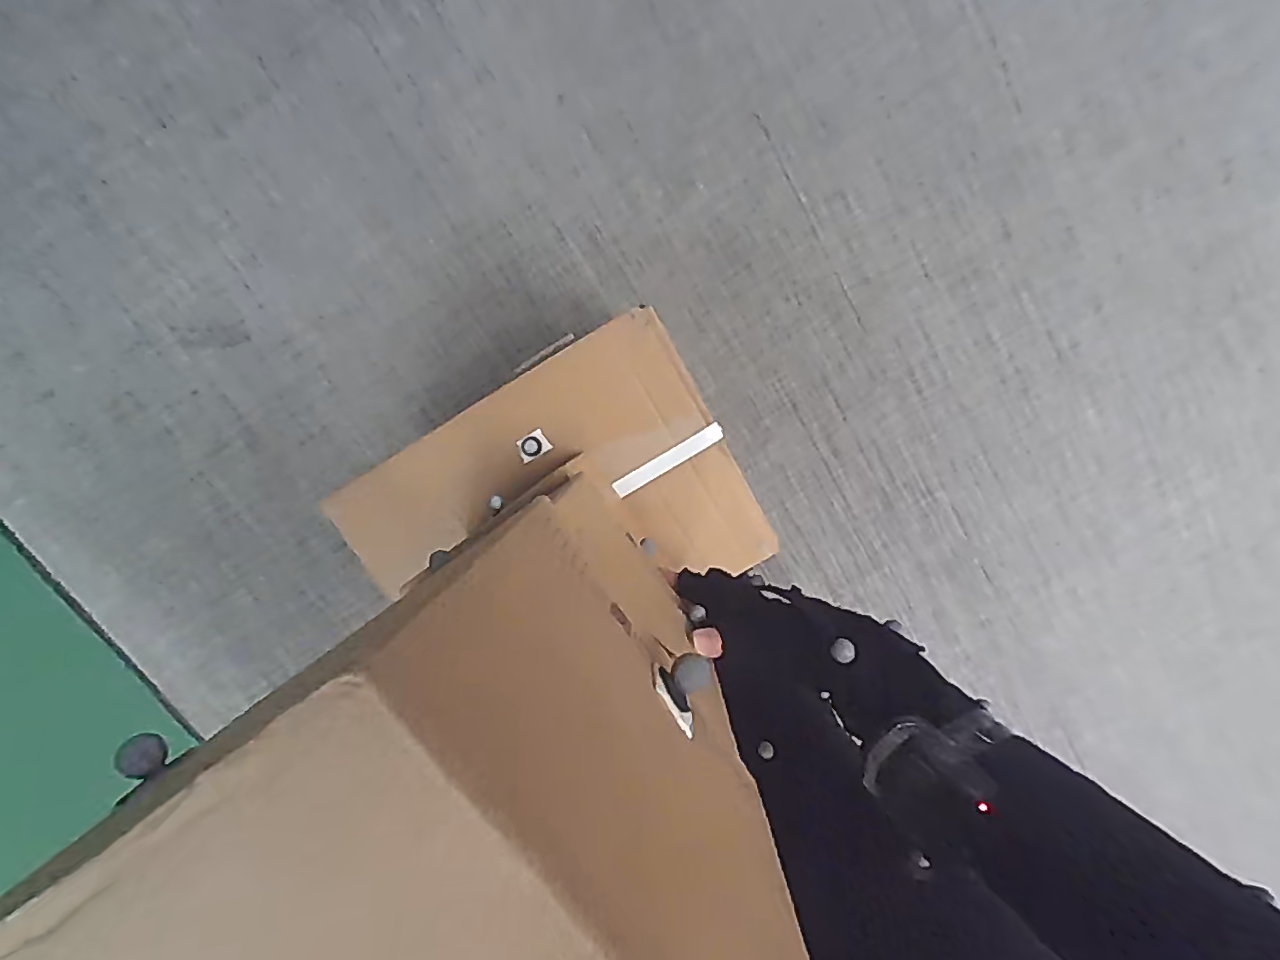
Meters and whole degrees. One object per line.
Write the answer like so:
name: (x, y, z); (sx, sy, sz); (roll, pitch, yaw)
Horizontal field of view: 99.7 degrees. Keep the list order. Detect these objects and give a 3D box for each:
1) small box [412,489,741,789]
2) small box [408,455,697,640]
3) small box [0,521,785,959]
small box: (-0.063, 0.125, 0.345); (0.179, 0.176, 0.168); (-35, 96, 6)
small box: (-0.070, 0.096, 0.510); (0.168, 0.176, 0.179); (-39, 100, 5)
small box: (-0.063, 0.139, 0.184); (0.179, 0.176, 0.168); (-37, 97, 4)
